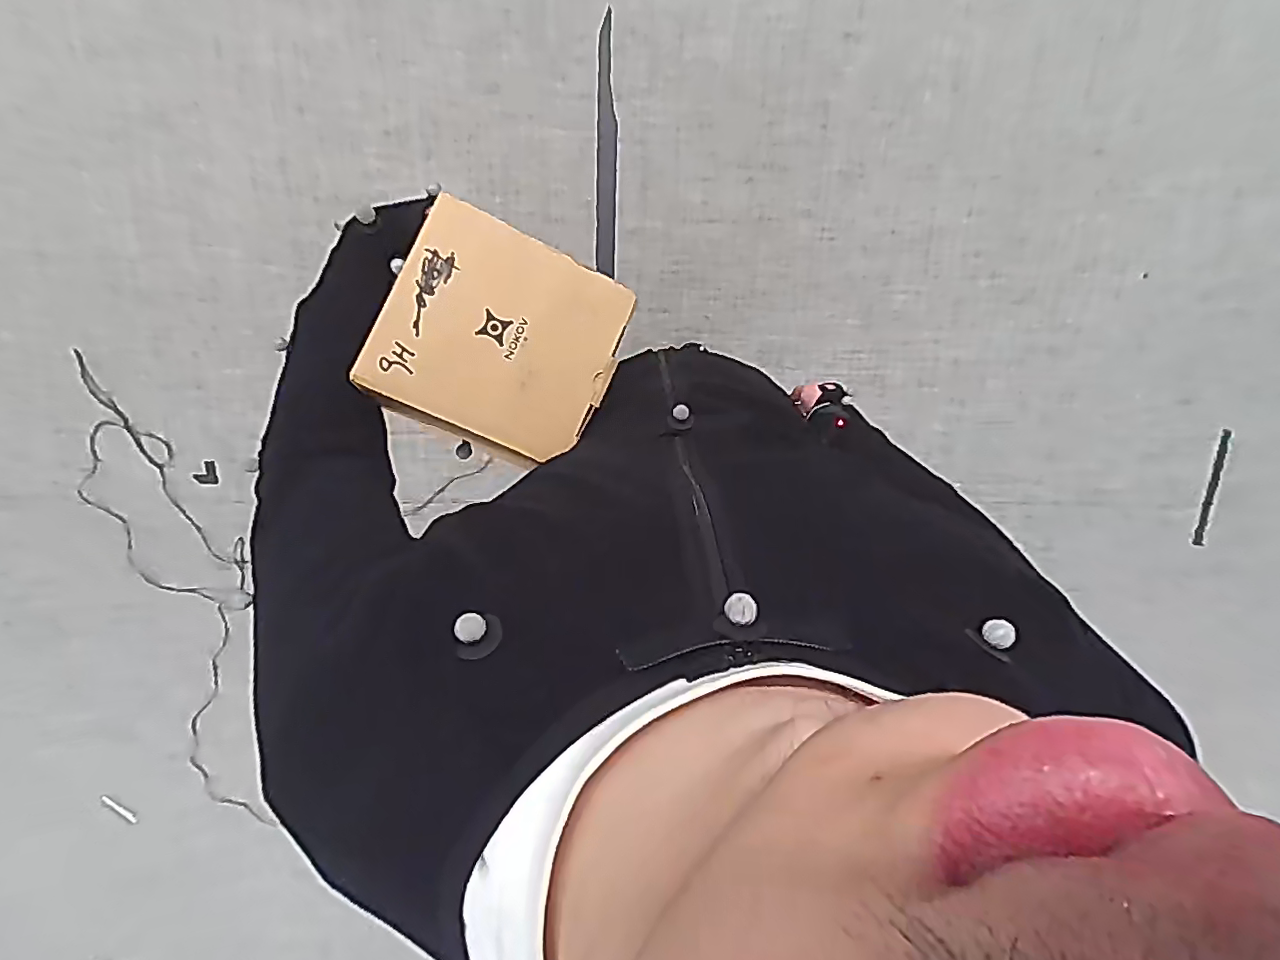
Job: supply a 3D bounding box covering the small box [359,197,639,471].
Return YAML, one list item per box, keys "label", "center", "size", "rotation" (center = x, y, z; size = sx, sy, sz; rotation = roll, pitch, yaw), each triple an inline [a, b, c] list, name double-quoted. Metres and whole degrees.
- label: "small box"
  center: [-0.128, -0.116, 0.513]
  size: [0.179, 0.176, 0.168]
  rotation: [24, 82, -15]
